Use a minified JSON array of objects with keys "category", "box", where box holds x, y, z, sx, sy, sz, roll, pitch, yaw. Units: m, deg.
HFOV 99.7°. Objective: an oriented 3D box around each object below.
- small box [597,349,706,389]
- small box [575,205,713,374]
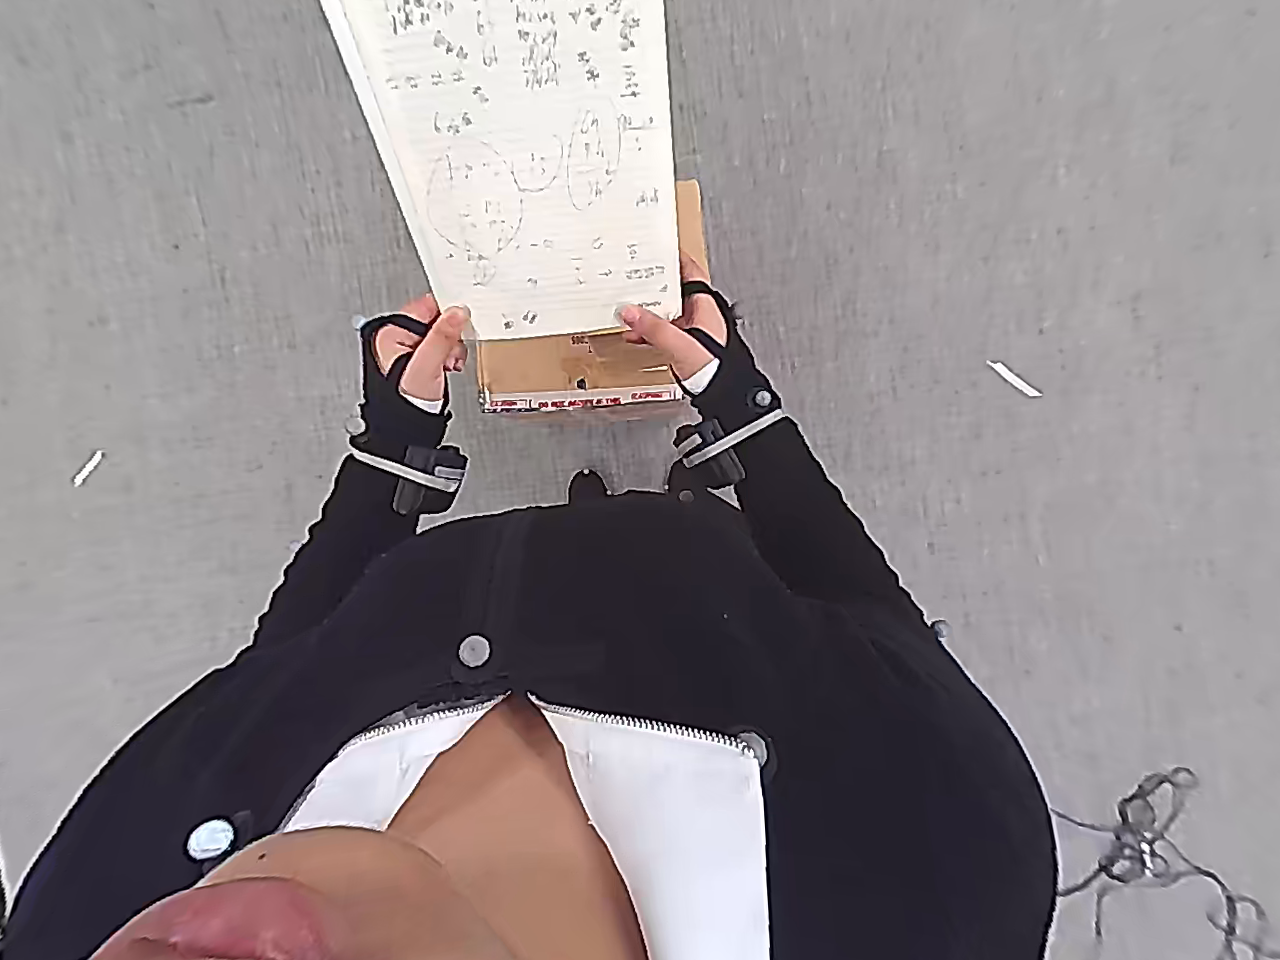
[{"category":"small box","box":[0.009,-0.259,0.936,0.179,0.176,0.168,-10,93,2]},{"category":"small box","box":[0.004,-0.260,0.772,0.168,0.176,0.179,-7,93,0]}]
